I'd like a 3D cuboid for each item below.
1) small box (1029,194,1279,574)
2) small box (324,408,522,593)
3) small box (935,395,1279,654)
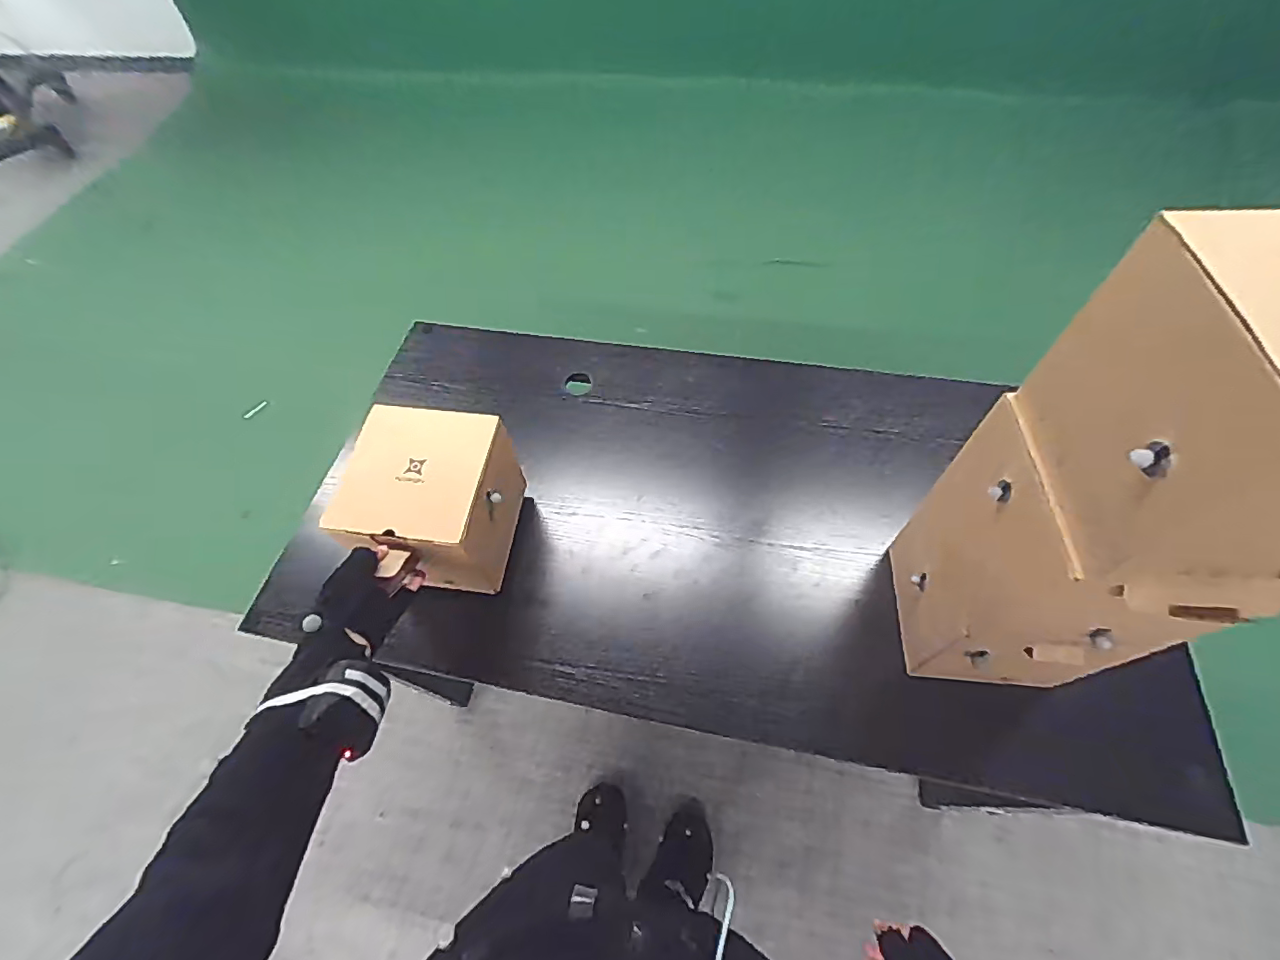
[{"bbox_3d":[0.390,-0.048,0.333,0.168,0.176,0.179,1,58,5],"label":"small box"},{"bbox_3d":[-0.262,0.031,0.705,0.168,0.176,0.179,6,62,4],"label":"small box"},{"bbox_3d":[0.394,0.044,0.488,0.168,0.176,0.179,1,59,5],"label":"small box"}]
